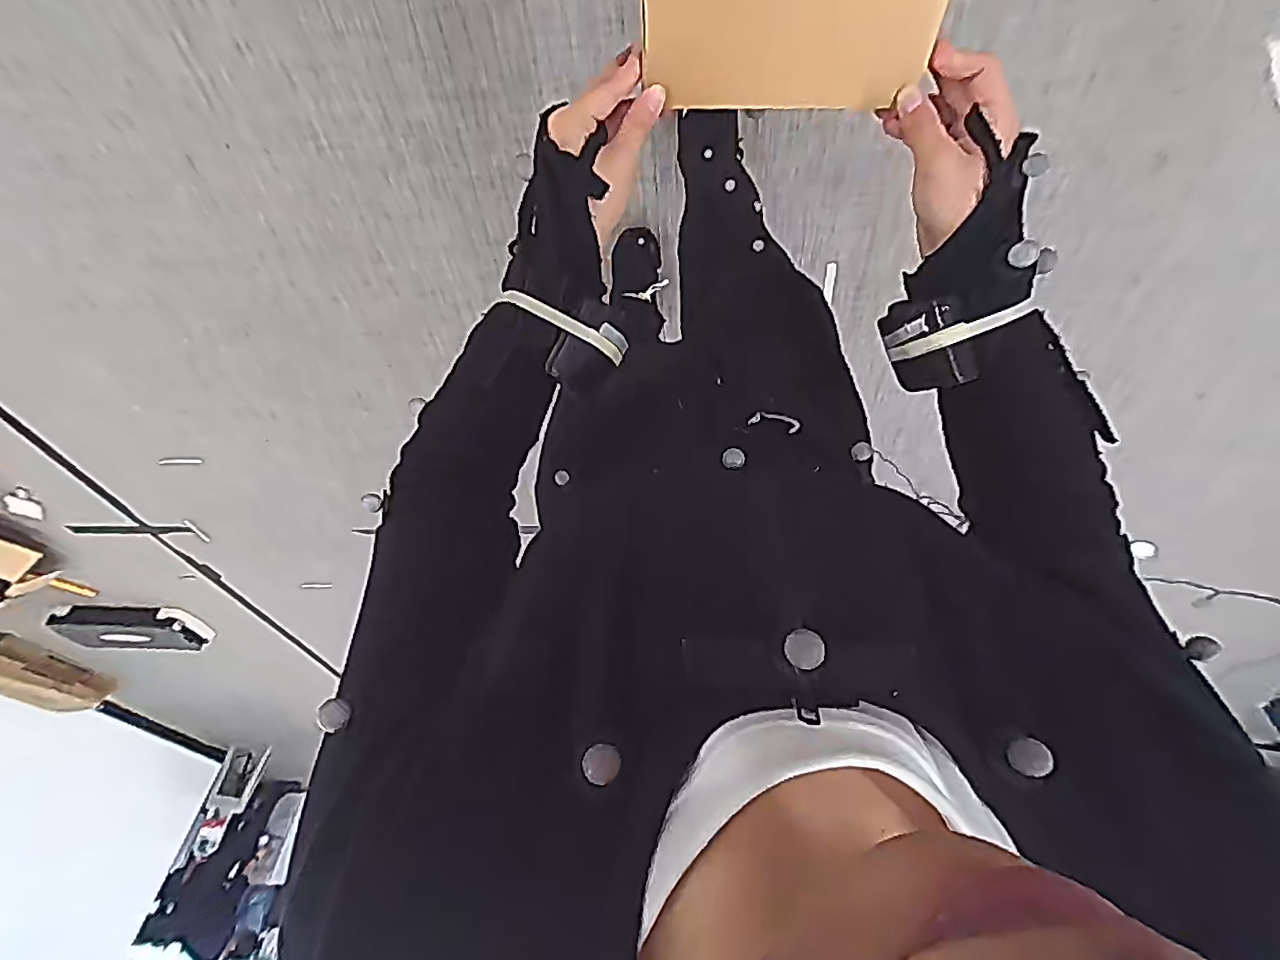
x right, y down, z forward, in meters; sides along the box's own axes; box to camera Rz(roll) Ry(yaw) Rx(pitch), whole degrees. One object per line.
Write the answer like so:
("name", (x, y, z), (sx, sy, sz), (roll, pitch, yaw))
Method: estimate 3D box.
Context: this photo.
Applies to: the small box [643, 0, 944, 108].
("small box", (0.091, -0.360, 0.341), (0.179, 0.176, 0.168), (2, 142, 3))
